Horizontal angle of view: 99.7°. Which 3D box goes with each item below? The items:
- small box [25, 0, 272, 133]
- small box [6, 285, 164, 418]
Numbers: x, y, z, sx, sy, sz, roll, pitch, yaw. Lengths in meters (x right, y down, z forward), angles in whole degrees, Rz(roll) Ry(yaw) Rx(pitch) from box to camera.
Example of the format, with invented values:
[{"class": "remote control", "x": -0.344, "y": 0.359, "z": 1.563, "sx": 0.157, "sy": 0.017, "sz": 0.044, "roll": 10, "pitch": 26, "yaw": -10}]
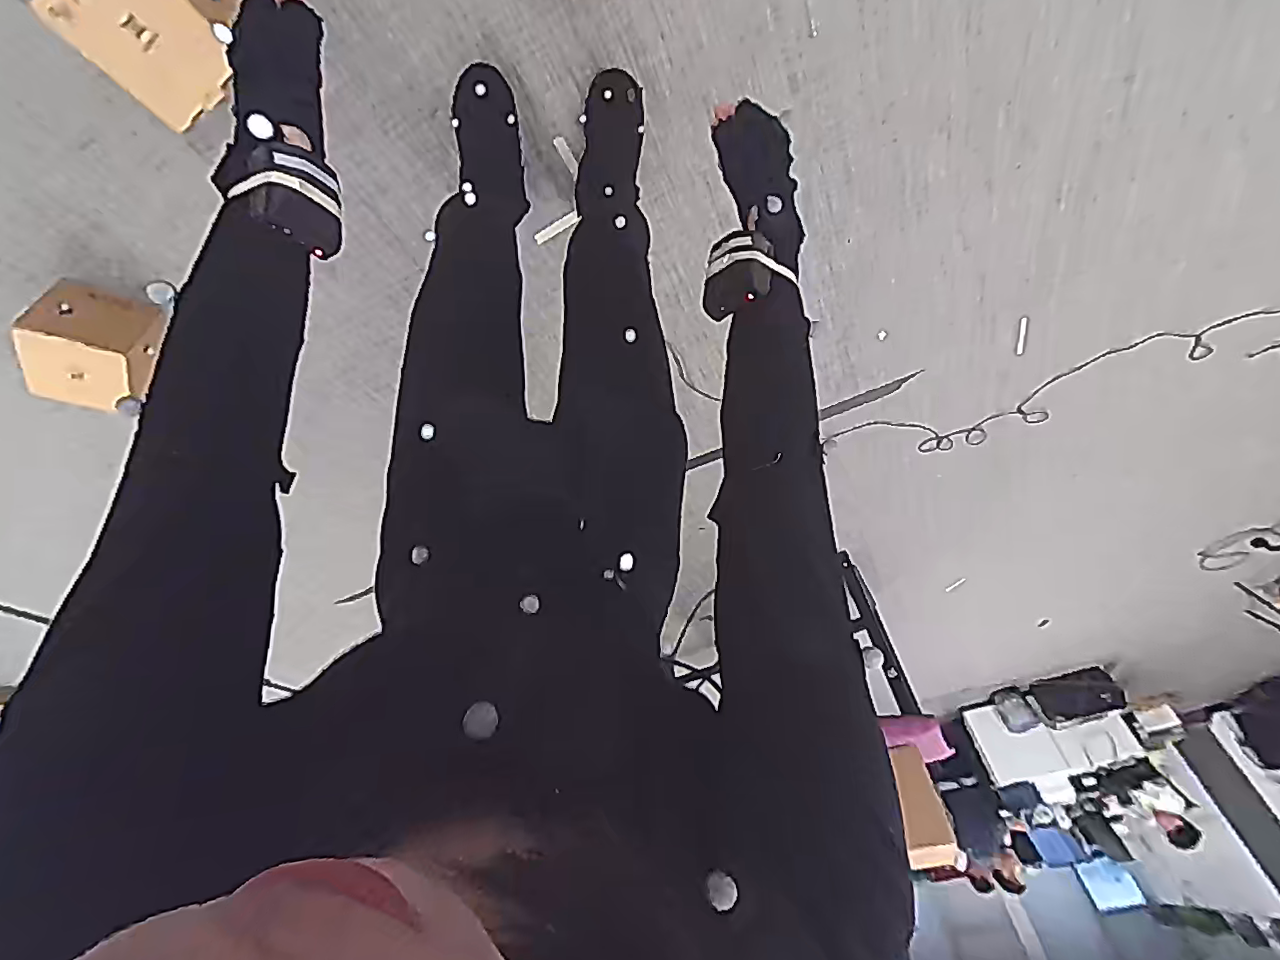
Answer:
[{"class": "small box", "x": -0.658, "y": -0.639, "z": 0.750, "sx": 0.168, "sy": 0.176, "sz": 0.179, "roll": -27, "pitch": 138, "yaw": 19}, {"class": "small box", "x": -1.112, "y": -0.263, "z": 1.102, "sx": 0.168, "sy": 0.176, "sz": 0.179, "roll": 16, "pitch": 134, "yaw": -25}]
